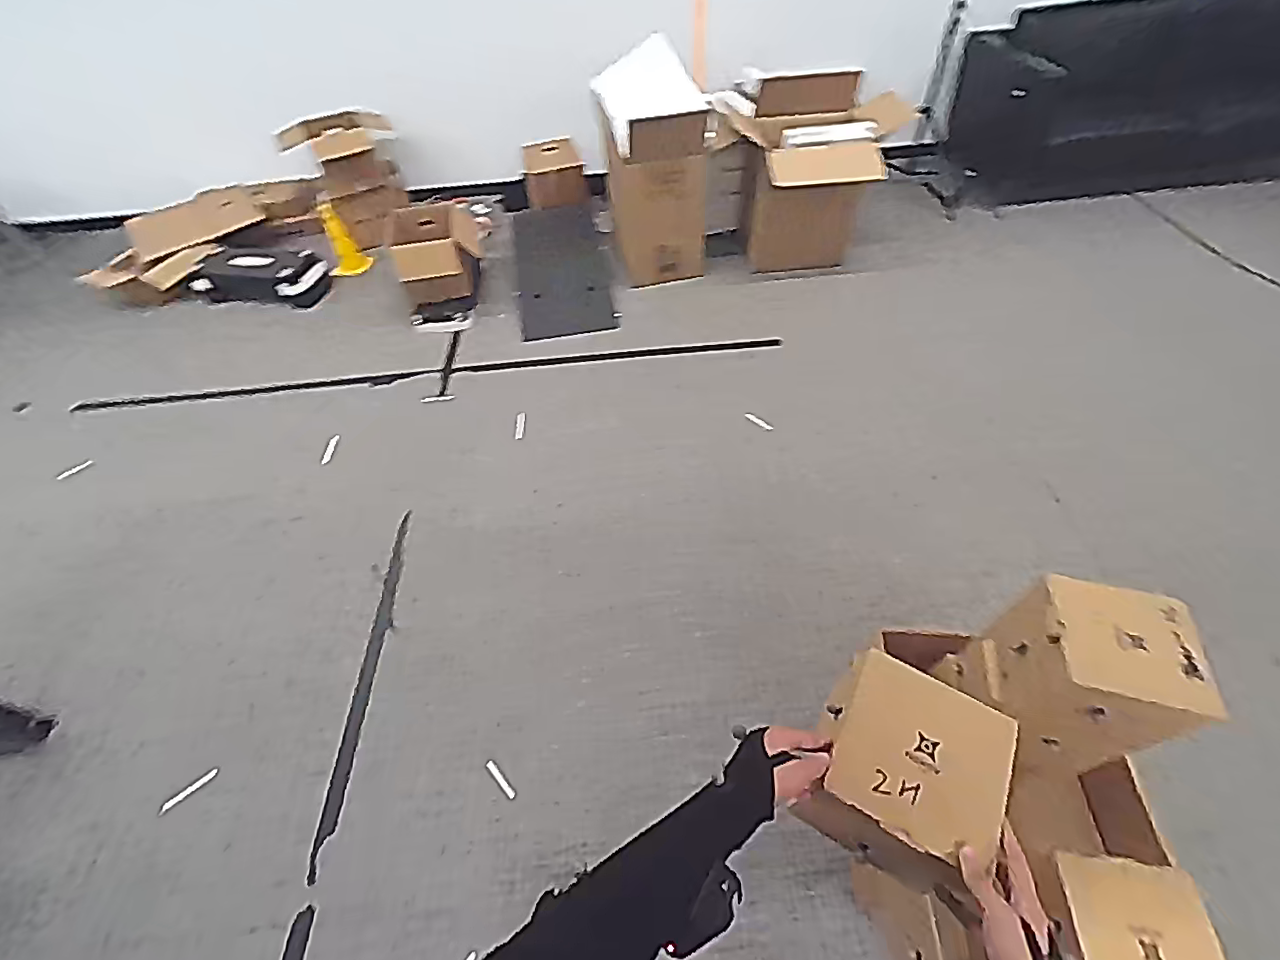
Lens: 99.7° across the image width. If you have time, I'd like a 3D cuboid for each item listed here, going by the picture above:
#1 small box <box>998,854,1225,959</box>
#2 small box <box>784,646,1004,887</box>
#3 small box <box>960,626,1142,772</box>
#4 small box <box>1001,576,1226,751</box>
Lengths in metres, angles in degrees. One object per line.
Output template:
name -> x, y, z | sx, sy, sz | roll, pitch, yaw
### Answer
small box -> 0.610, 0.613, 0.705 | 0.168, 0.176, 0.179 | 5, 50, 6
small box -> 0.285, 0.335, 0.633 | 0.168, 0.176, 0.179 | 25, 56, 18
small box -> 0.658, 0.368, 0.900 | 0.179, 0.176, 0.168 | 9, 52, 9
small box -> 0.646, 0.265, 0.772 | 0.179, 0.176, 0.168 | 12, 53, 13
